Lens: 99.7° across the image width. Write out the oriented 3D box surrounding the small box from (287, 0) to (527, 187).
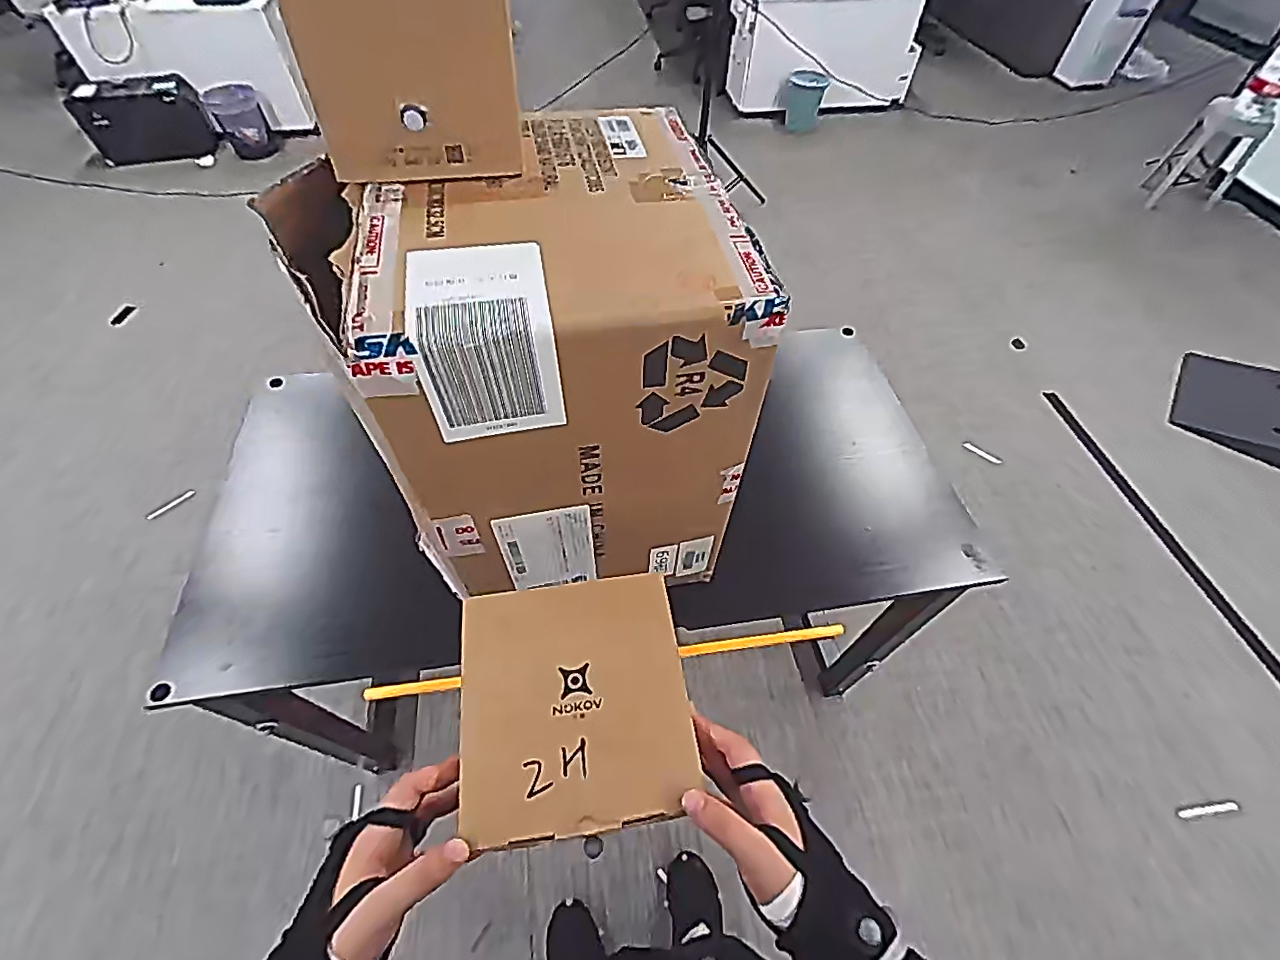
[{"bbox_3d":[-0.199,-0.386,0.484,0.168,0.176,0.179,-10,53,-11],"label":"small box"}]
